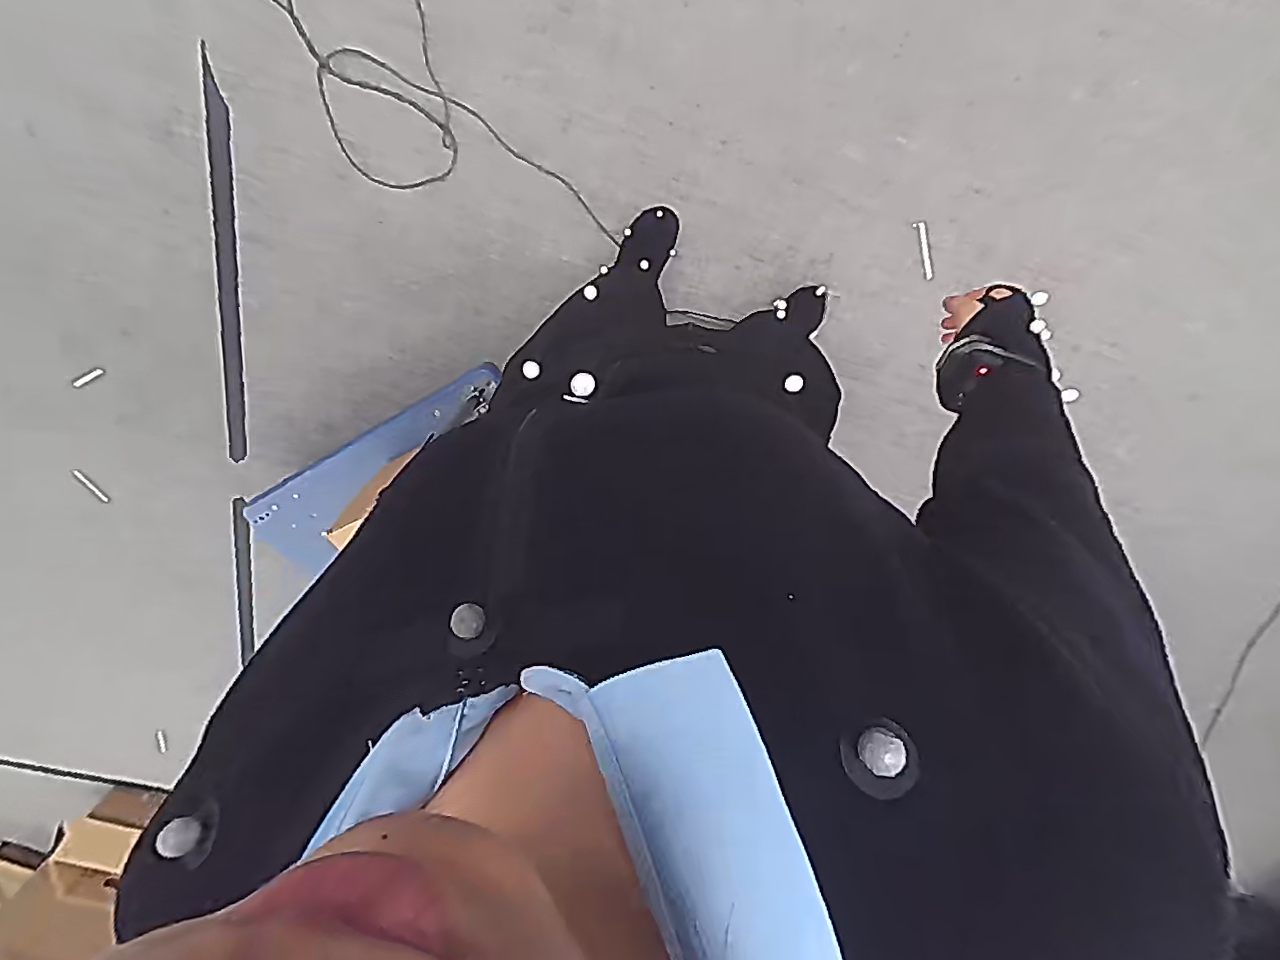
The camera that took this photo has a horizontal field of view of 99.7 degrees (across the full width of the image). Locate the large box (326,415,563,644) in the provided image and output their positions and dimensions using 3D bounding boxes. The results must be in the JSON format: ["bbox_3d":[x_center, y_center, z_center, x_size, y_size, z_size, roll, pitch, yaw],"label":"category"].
[{"bbox_3d":[-0.441,0.120,1.327,0.320,0.320,0.408,-26,116,15],"label":"large box"}]
